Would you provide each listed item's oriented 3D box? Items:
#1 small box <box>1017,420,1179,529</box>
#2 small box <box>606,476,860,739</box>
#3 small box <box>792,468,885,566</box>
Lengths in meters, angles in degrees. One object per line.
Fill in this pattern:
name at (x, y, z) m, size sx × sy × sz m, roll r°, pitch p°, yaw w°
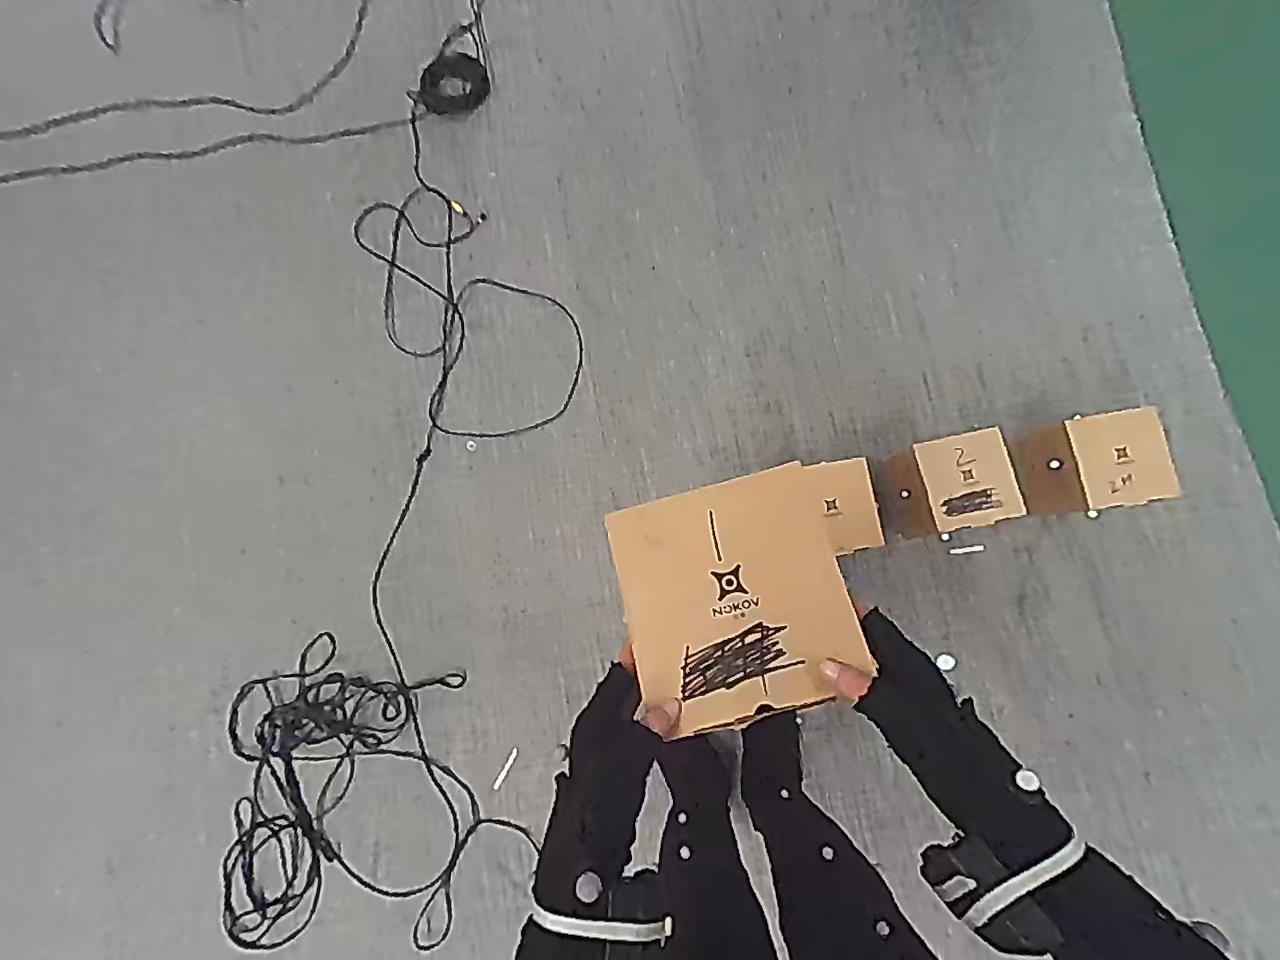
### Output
small box at (0.898, -0.004, 1.082) m, size 0.168 × 0.176 × 0.179 m, roll -9°, pitch 81°, yaw 4°
small box at (0.079, 0.119, 0.498) m, size 0.168 × 0.176 × 0.179 m, roll -14°, pitch 70°, yaw 4°
small box at (0.377, 0.085, 1.115) m, size 0.168 × 0.176 × 0.179 m, roll -9°, pitch 81°, yaw 5°
